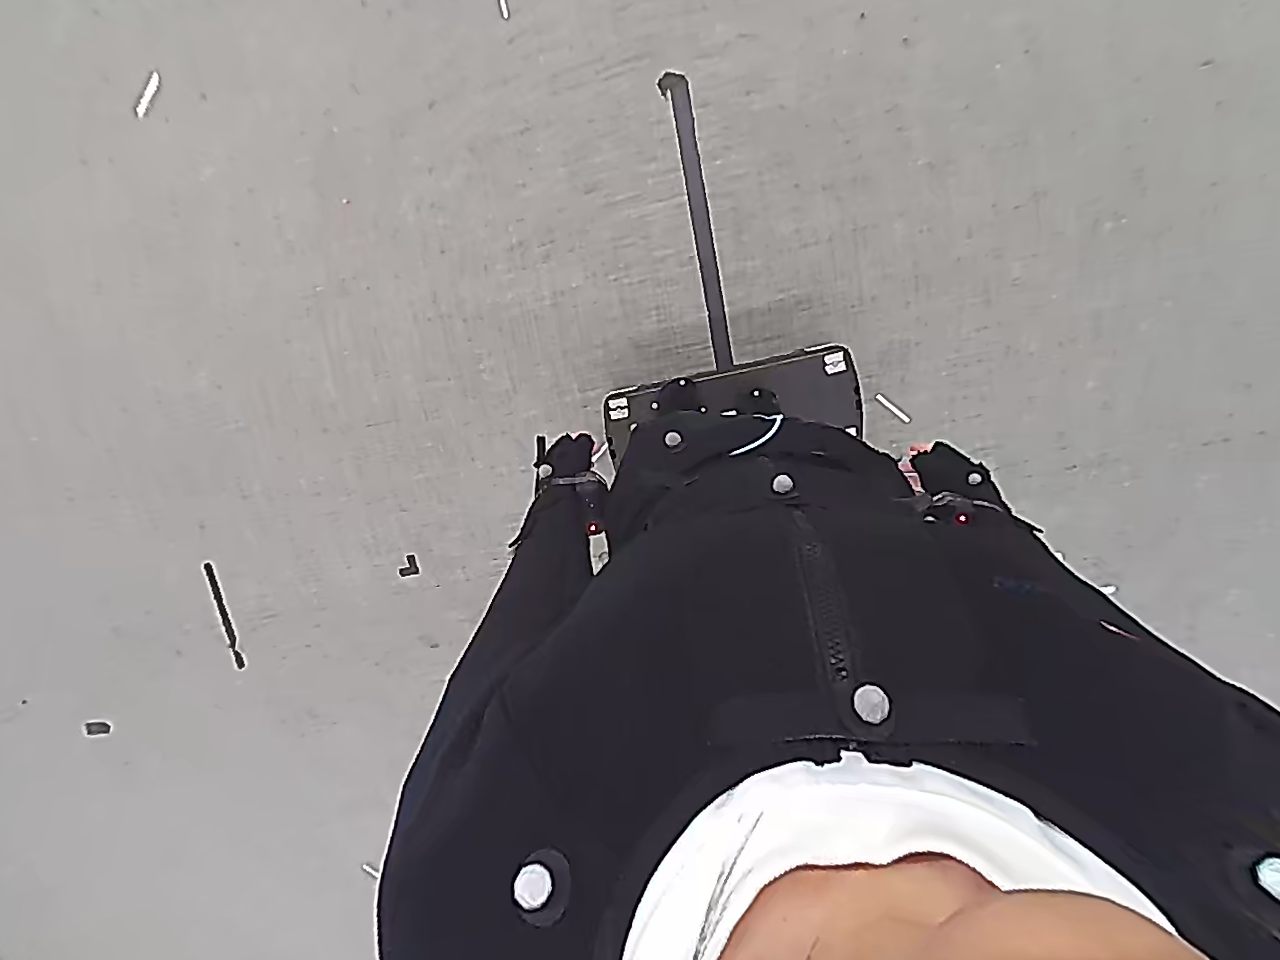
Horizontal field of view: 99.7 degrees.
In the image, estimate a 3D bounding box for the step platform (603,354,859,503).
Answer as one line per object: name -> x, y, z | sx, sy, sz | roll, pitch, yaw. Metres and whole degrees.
step platform -> 0.242, -0.140, 1.509 | 0.684, 0.204, 0.286 | -12, 101, 7
